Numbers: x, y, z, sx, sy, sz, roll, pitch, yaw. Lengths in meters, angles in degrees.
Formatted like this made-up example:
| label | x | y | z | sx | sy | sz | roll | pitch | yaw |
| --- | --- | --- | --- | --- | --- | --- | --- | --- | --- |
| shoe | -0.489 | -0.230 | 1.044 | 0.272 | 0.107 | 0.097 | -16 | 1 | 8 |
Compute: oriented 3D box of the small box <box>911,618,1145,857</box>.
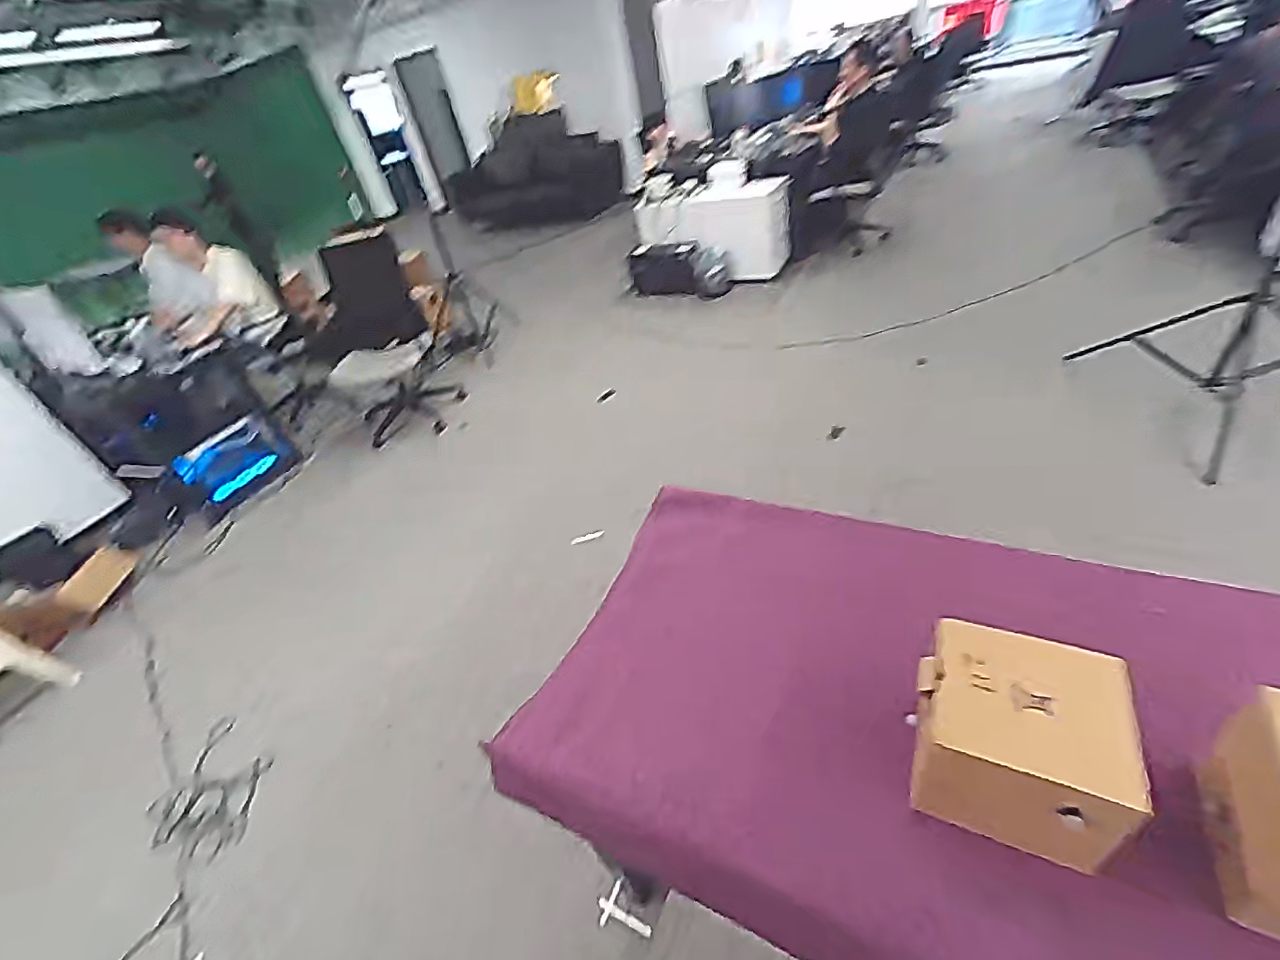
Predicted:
| label | x | y | z | sx | sy | sz | roll | pitch | yaw |
| --- | --- | --- | --- | --- | --- | --- | --- | --- | --- |
| small box | 0.422 | 0.292 | 0.618 | 0.179 | 0.176 | 0.168 | 8 | 42 | 27 |
